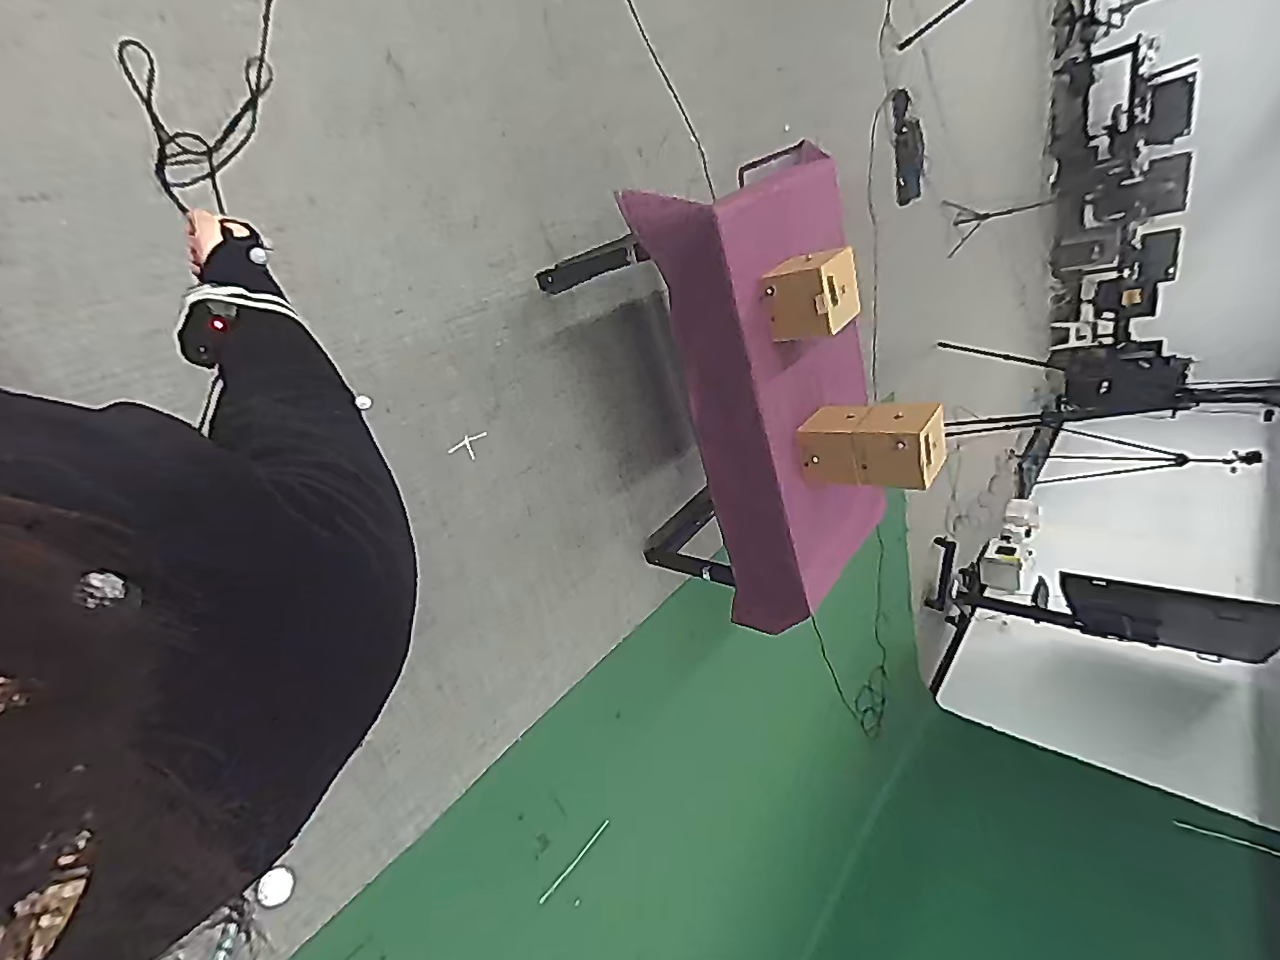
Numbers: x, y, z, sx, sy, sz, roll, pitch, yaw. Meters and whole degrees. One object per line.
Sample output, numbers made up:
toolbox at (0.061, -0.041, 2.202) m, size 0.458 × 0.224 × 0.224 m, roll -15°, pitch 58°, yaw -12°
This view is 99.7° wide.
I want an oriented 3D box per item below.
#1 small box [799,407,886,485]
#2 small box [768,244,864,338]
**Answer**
small box at (0.578, -0.104, 1.541) m, size 0.179 × 0.176 × 0.168 m, roll -36°, pitch 119°, yaw -35°
small box at (0.433, -0.464, 1.348) m, size 0.179 × 0.176 × 0.168 m, roll -41°, pitch 122°, yaw -35°
